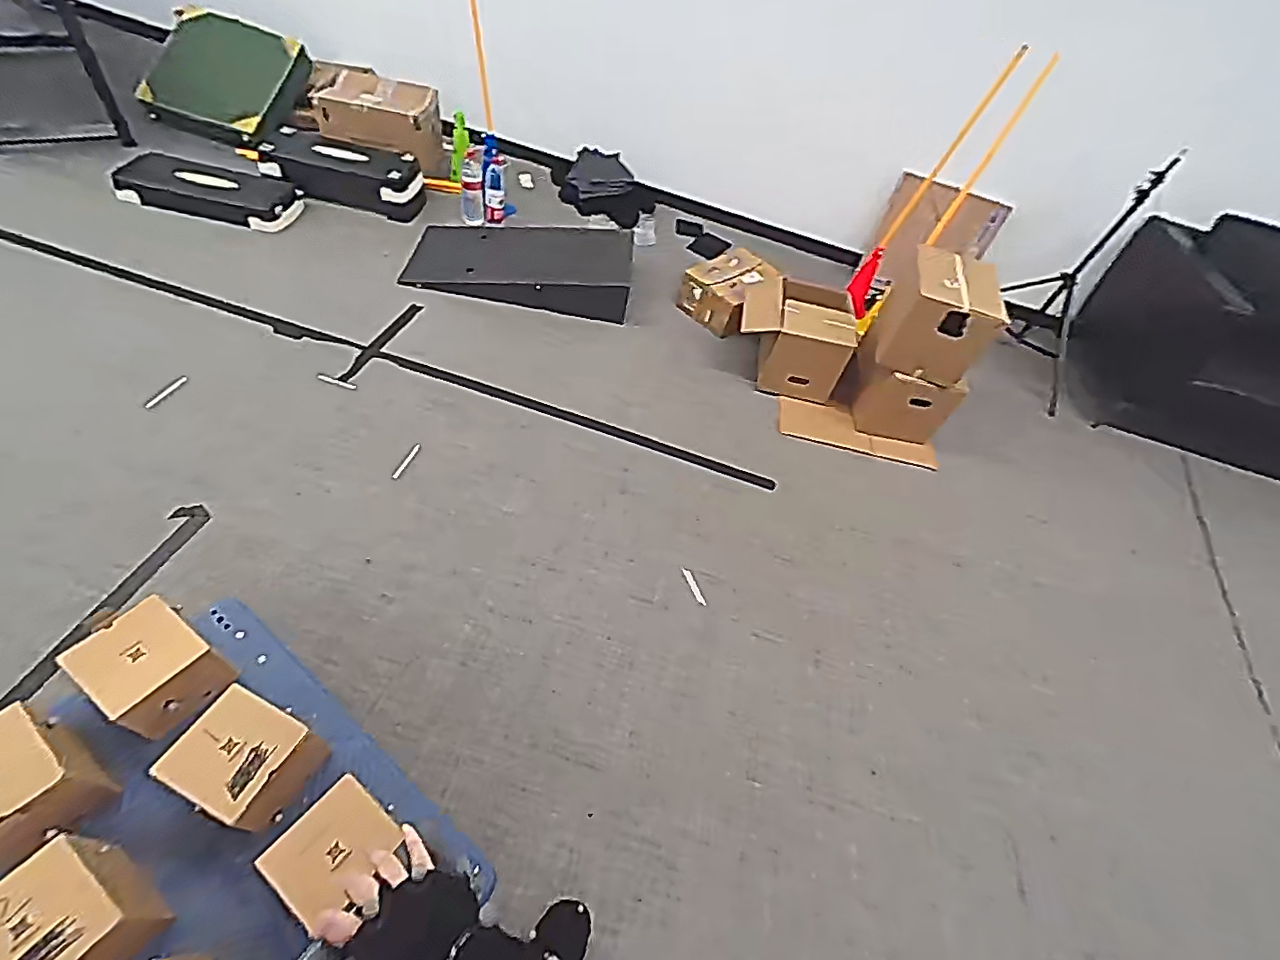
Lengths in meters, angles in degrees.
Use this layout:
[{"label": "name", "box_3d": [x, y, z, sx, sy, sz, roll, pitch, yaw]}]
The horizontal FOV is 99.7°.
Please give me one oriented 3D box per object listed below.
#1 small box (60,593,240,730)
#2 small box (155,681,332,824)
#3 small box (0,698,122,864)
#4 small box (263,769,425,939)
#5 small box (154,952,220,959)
[{"label": "small box", "box_3d": [-0.933, 0.359, 1.051, 0.179, 0.176, 0.168, 34, 53, 12]}, {"label": "small box", "box_3d": [-0.710, 0.506, 0.995, 0.179, 0.176, 0.168, 26, 51, 7]}, {"label": "small box", "box_3d": [-1.041, 0.509, 0.905, 0.179, 0.176, 0.168, 38, 54, 14]}, {"label": "small box", "box_3d": [-0.501, 0.646, 0.943, 0.179, 0.176, 0.168, 36, 52, 15]}, {"label": "small box", "box_3d": [-0.672, 0.813, 0.765, 0.179, 0.176, 0.168, 34, 51, 12]}]
